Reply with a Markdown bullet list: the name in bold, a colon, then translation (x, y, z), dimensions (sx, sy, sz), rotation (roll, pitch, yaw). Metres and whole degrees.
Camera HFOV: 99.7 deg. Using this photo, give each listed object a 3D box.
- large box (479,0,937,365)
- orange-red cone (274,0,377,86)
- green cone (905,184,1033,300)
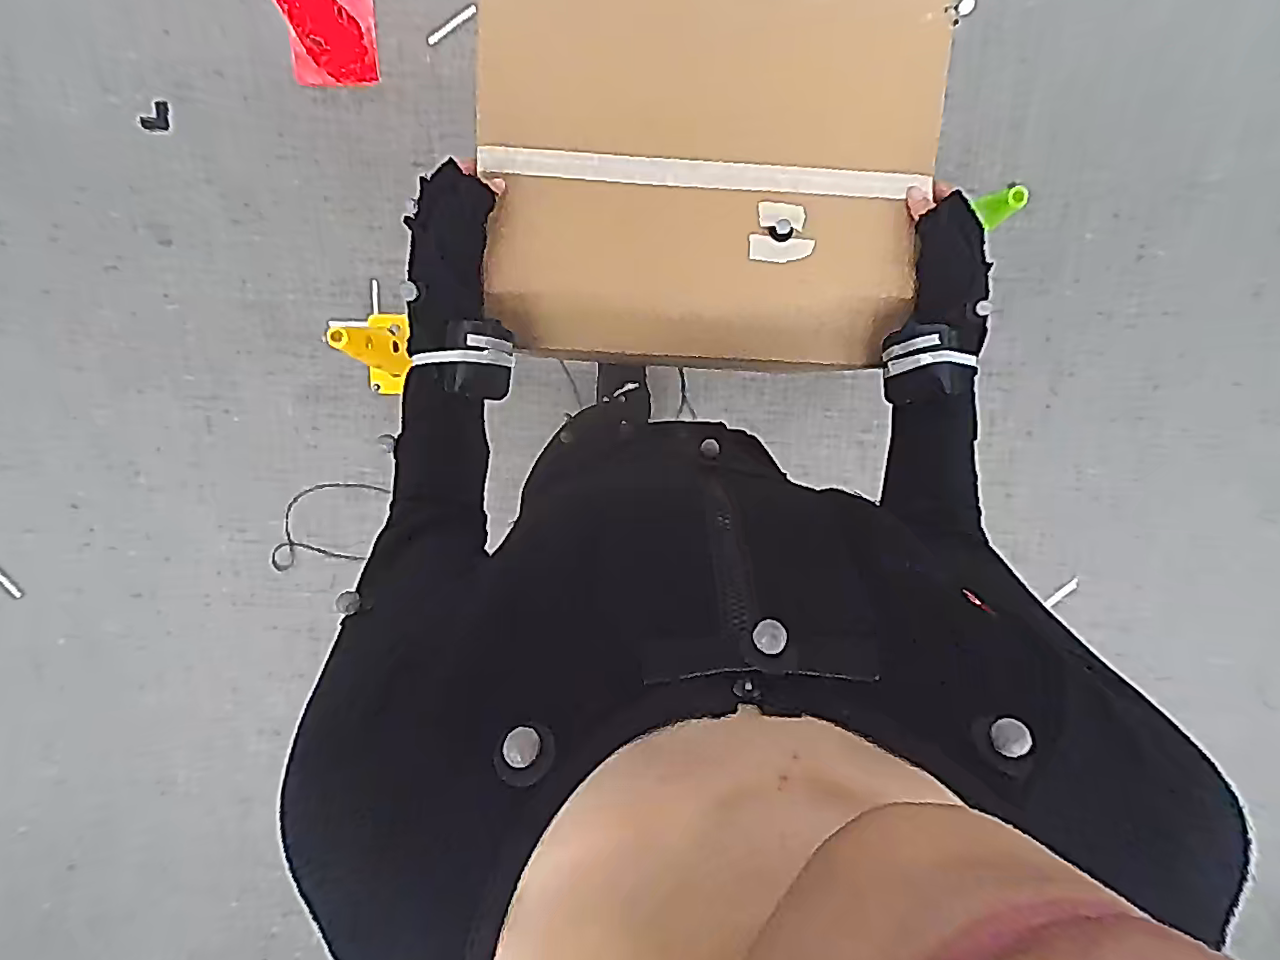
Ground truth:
- **large box**: translation (0.049, -0.302, 0.630), dimensions (0.408, 0.320, 0.320), rotation (2, 100, -4)
- **orange-red cone**: translation (-0.731, -1.027, 1.127), dimensions (0.198, 0.360, 0.199), rotation (0, 99, -1)
- **green cone**: translation (0.735, -0.574, 1.229), dimensions (0.202, 0.368, 0.200), rotation (-35, 98, 2)
